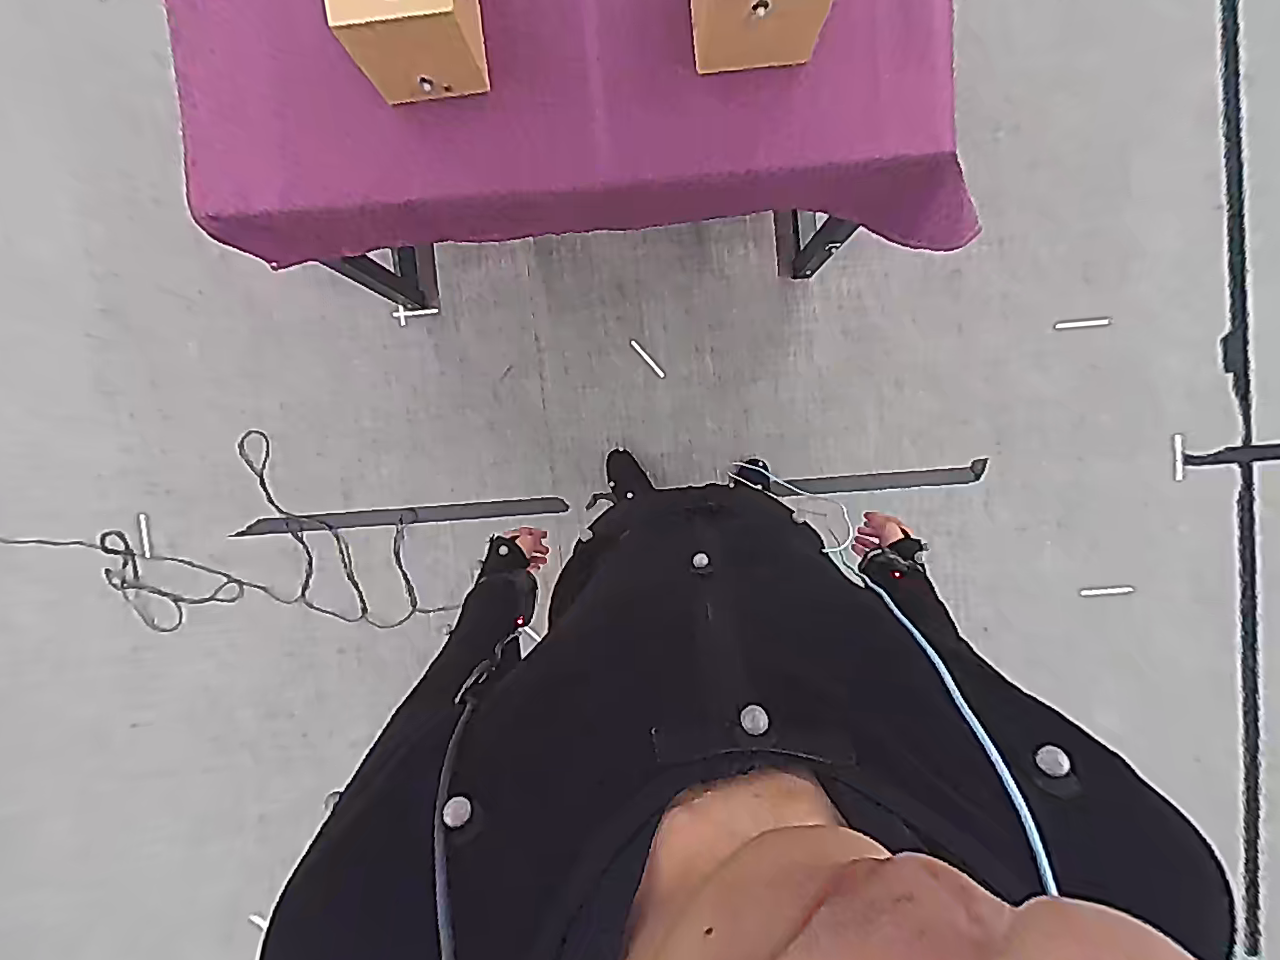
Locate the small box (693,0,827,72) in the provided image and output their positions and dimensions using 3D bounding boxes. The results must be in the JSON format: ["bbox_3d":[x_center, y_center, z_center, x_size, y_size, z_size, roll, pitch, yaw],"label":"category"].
[{"bbox_3d":[0.166,-0.714,0.759,0.179,0.176,0.168,-5,94,1],"label":"small box"}]
